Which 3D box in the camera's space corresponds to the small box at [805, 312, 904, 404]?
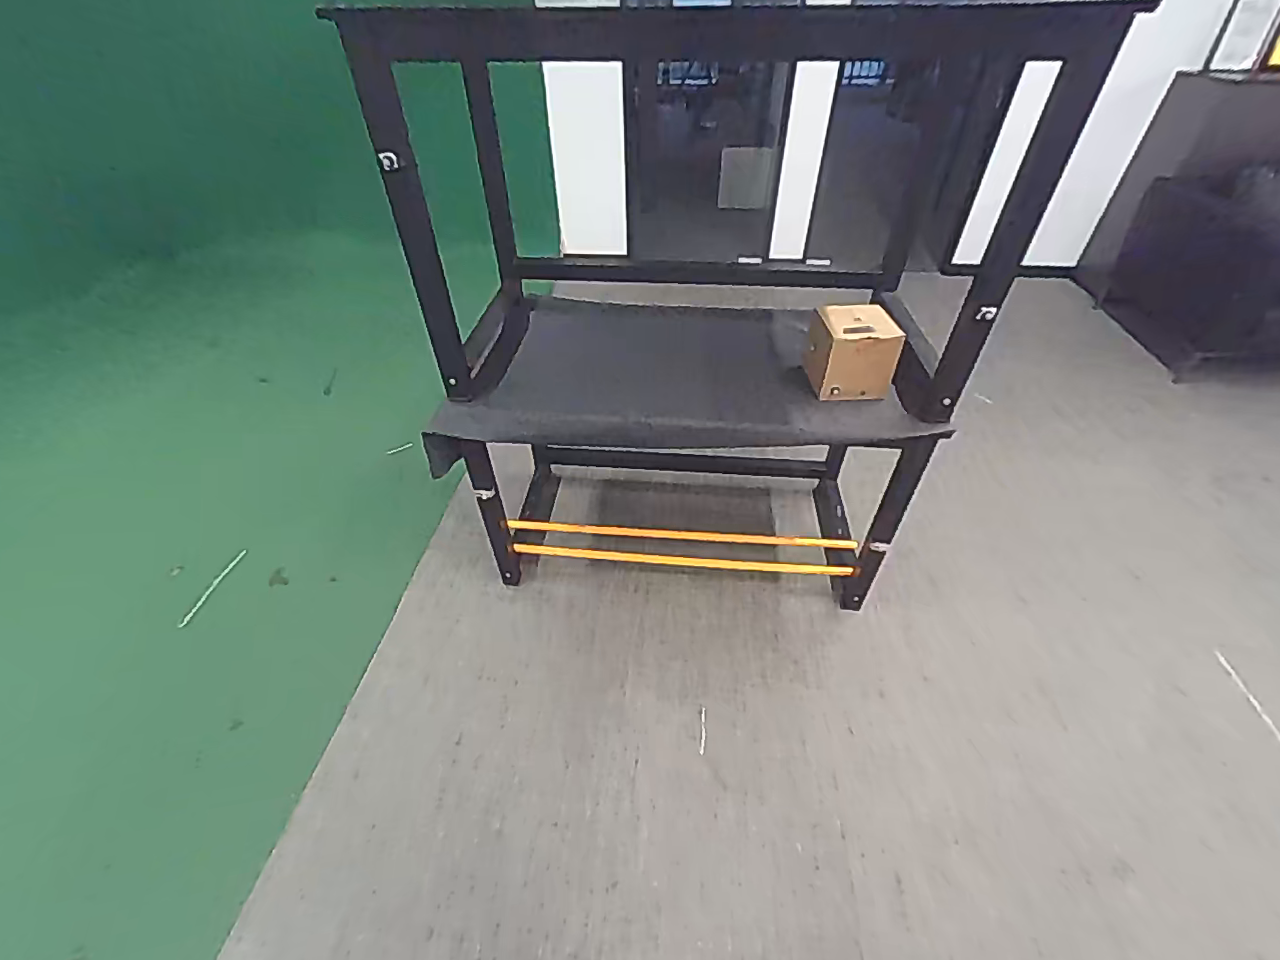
[{"bbox_3d":[0.522,-0.299,1.341,0.168,0.176,0.179,-1,41,0],"label":"small box"}]
